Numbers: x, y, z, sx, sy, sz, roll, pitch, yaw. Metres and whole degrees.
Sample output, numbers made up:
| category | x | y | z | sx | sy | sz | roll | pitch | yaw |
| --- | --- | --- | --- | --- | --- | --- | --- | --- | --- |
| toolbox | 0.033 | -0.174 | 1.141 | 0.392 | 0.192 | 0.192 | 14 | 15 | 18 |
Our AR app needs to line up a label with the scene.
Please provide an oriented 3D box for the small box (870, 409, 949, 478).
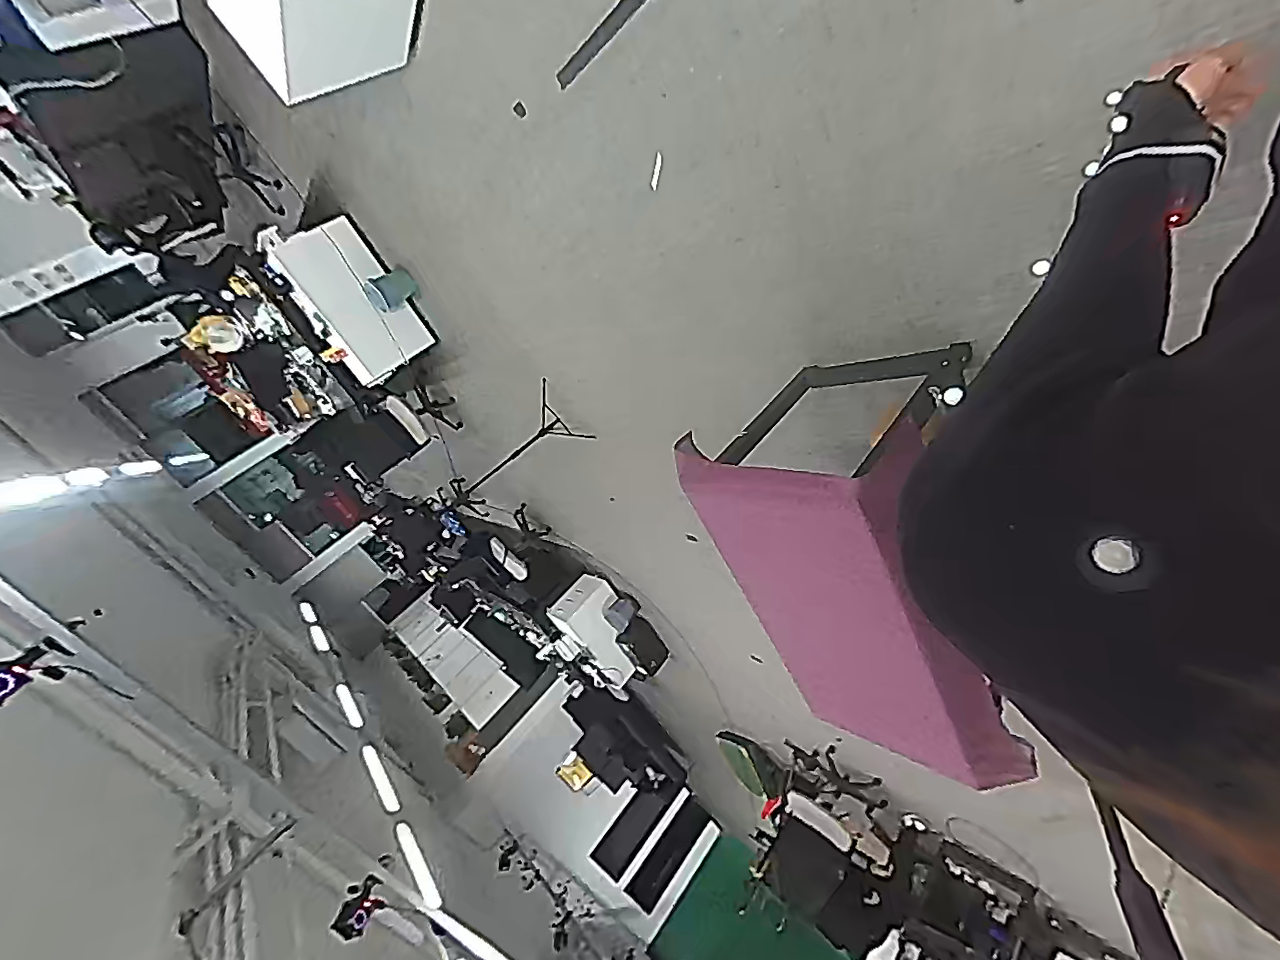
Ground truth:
| category | x | y | z | sx | sy | sz | roll | pitch | yaw |
| --- | --- | --- | --- | --- | --- | --- | --- | --- | --- |
| small box | 0.909 | -0.129 | 1.821 | 0.168 | 0.176 | 0.179 | 6 | 134 | 53 |
